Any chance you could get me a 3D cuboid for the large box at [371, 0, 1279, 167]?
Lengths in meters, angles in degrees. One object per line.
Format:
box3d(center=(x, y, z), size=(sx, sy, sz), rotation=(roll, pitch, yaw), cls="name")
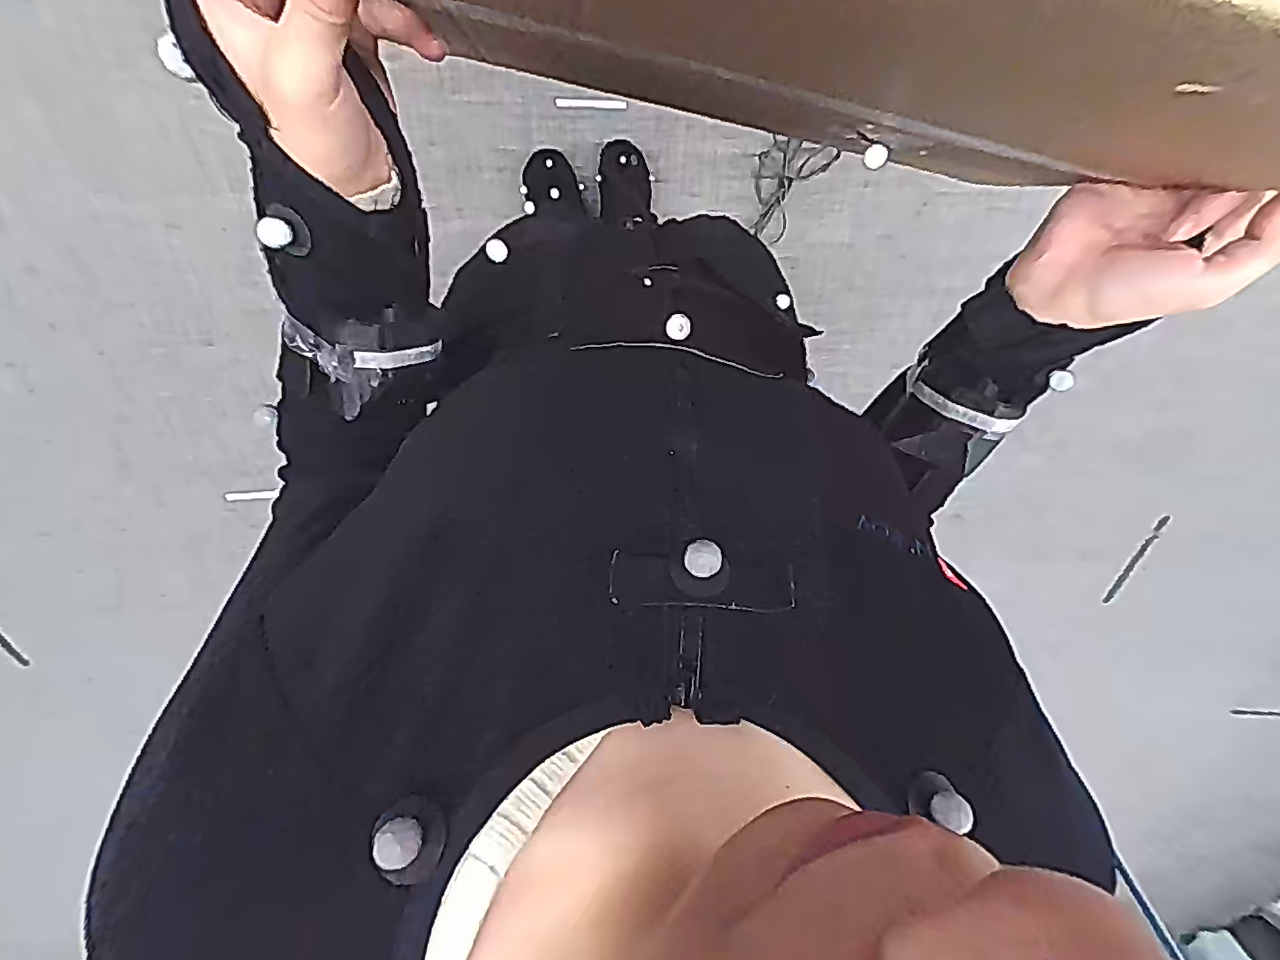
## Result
box3d(center=(0.096, -0.310, 0.157), size=(0.408, 0.320, 0.320), rotation=(5, 119, -10), cls="large box")
